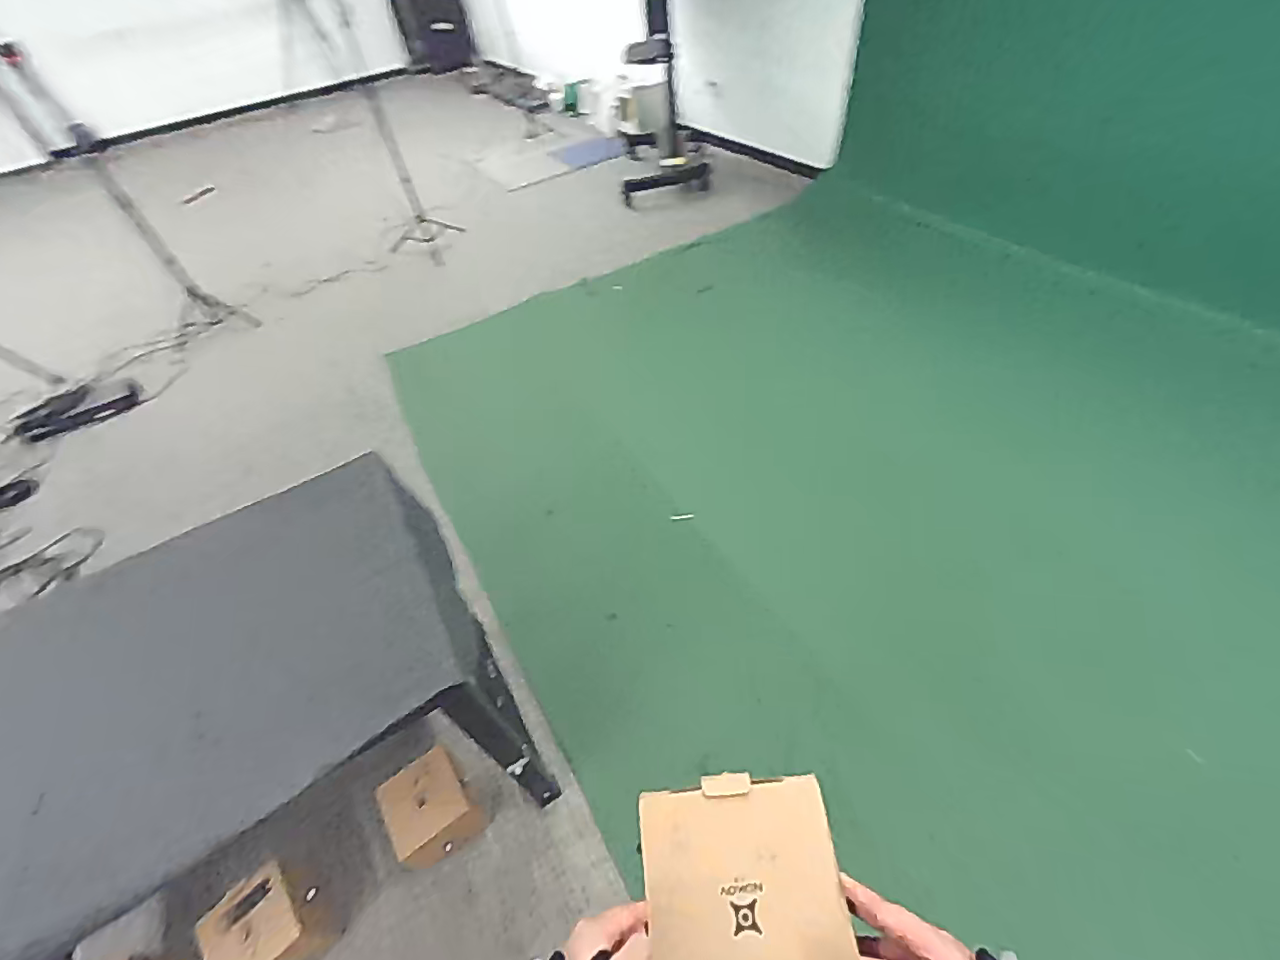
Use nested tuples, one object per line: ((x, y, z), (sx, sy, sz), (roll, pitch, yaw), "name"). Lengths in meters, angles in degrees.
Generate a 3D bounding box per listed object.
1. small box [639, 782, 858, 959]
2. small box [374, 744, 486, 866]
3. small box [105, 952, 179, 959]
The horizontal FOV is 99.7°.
((0.094, 0.393, 0.503), (0.168, 0.176, 0.179), (-9, 58, 4), "small box")
((-0.484, 0.763, 1.263), (0.168, 0.176, 0.179), (-31, 51, -20), "small box")
((-1.054, 1.076, 1.064), (0.168, 0.176, 0.179), (-24, 49, -13), "small box")
